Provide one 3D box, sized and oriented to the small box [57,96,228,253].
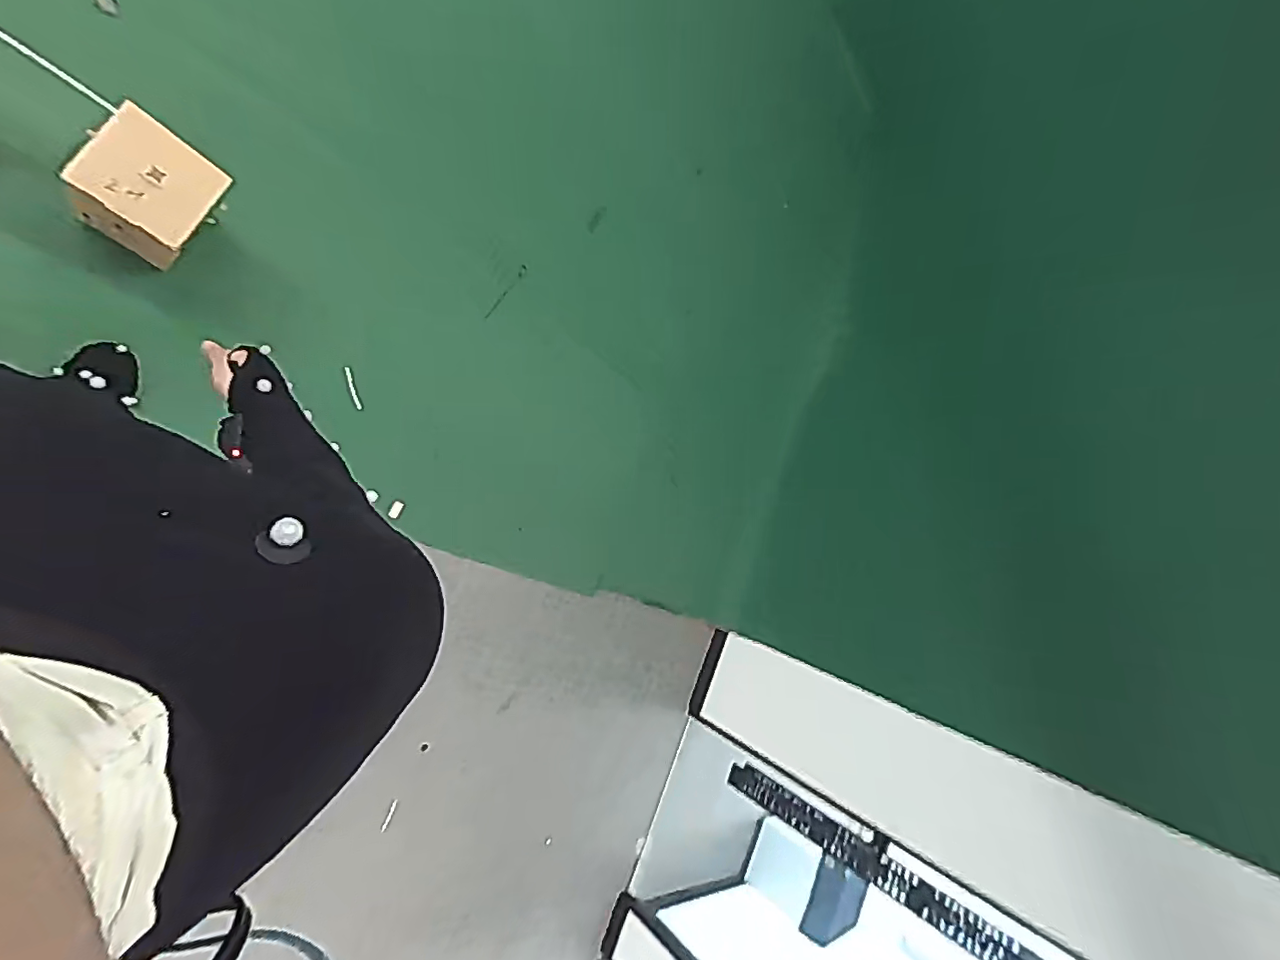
[{"bbox_3d":[-0.907,-0.547,0.992,0.168,0.176,0.179,39,73,-42],"label":"small box"}]
